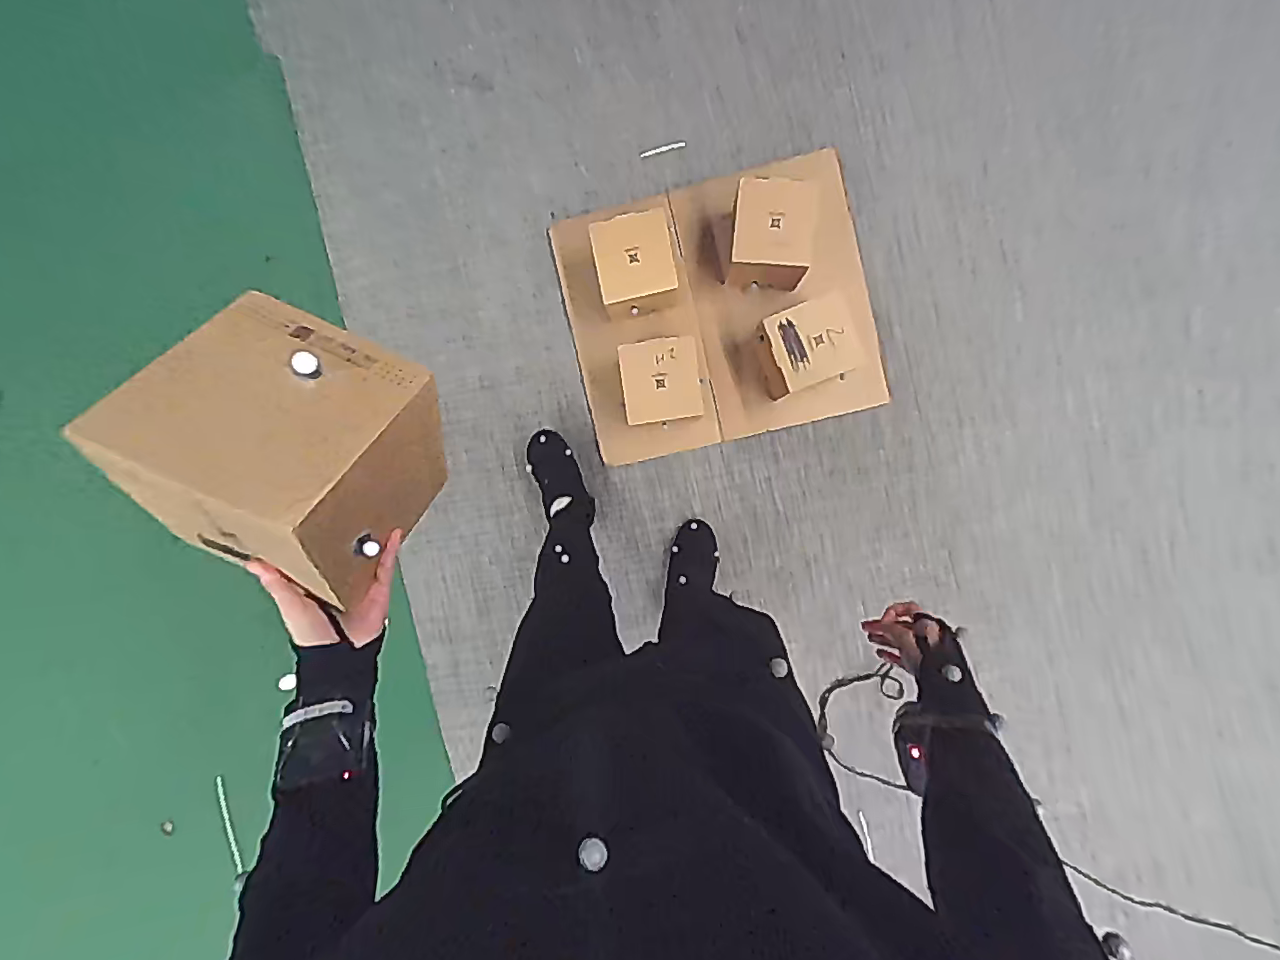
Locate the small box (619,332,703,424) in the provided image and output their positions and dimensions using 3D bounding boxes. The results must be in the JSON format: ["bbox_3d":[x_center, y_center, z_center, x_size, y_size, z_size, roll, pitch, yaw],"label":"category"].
[{"bbox_3d":[0.051,-0.222,1.221,0.168,0.176,0.179,-7,92,4],"label":"small box"}]

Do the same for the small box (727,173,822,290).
[{"bbox_3d":[0.286,-0.538,1.187,0.168,0.176,0.179,6,93,4],"label":"small box"}]

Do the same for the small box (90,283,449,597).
[{"bbox_3d":[-0.284,-0.031,0.472,0.168,0.179,0.176,25,54,1],"label":"small box"}]

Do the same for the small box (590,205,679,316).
[{"bbox_3d":[-0.006,-0.480,1.216,0.168,0.176,0.179,-11,91,4],"label":"small box"}]
